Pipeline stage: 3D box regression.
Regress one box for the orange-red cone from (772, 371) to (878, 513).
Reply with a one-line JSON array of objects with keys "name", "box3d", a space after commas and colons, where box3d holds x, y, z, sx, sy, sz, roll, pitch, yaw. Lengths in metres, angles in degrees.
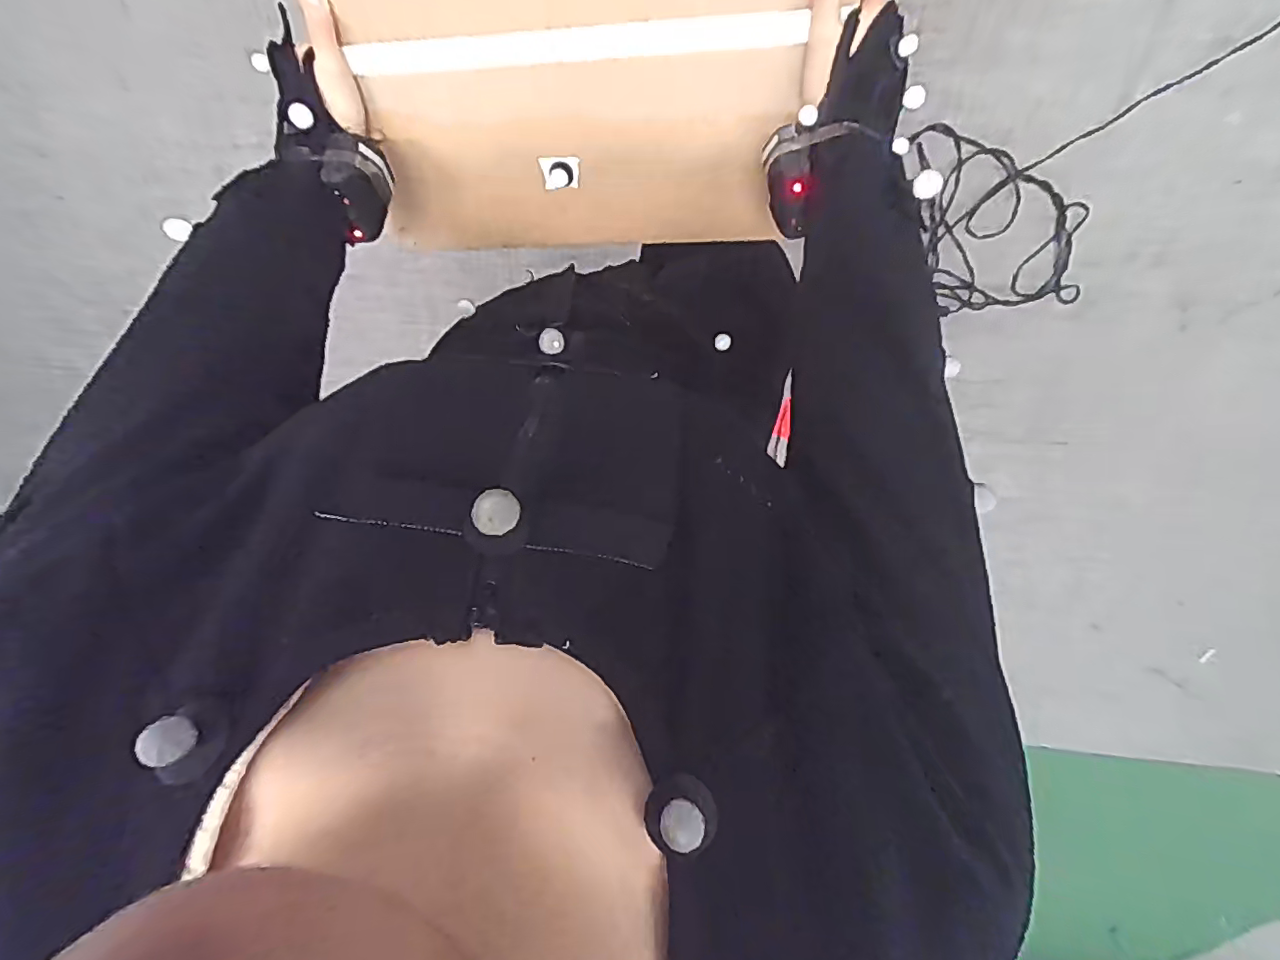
[{"name": "orange-red cone", "box3d": [0.429, -0.056, 1.182, 0.199, 0.360, 0.198, 20, 127, -7]}]
